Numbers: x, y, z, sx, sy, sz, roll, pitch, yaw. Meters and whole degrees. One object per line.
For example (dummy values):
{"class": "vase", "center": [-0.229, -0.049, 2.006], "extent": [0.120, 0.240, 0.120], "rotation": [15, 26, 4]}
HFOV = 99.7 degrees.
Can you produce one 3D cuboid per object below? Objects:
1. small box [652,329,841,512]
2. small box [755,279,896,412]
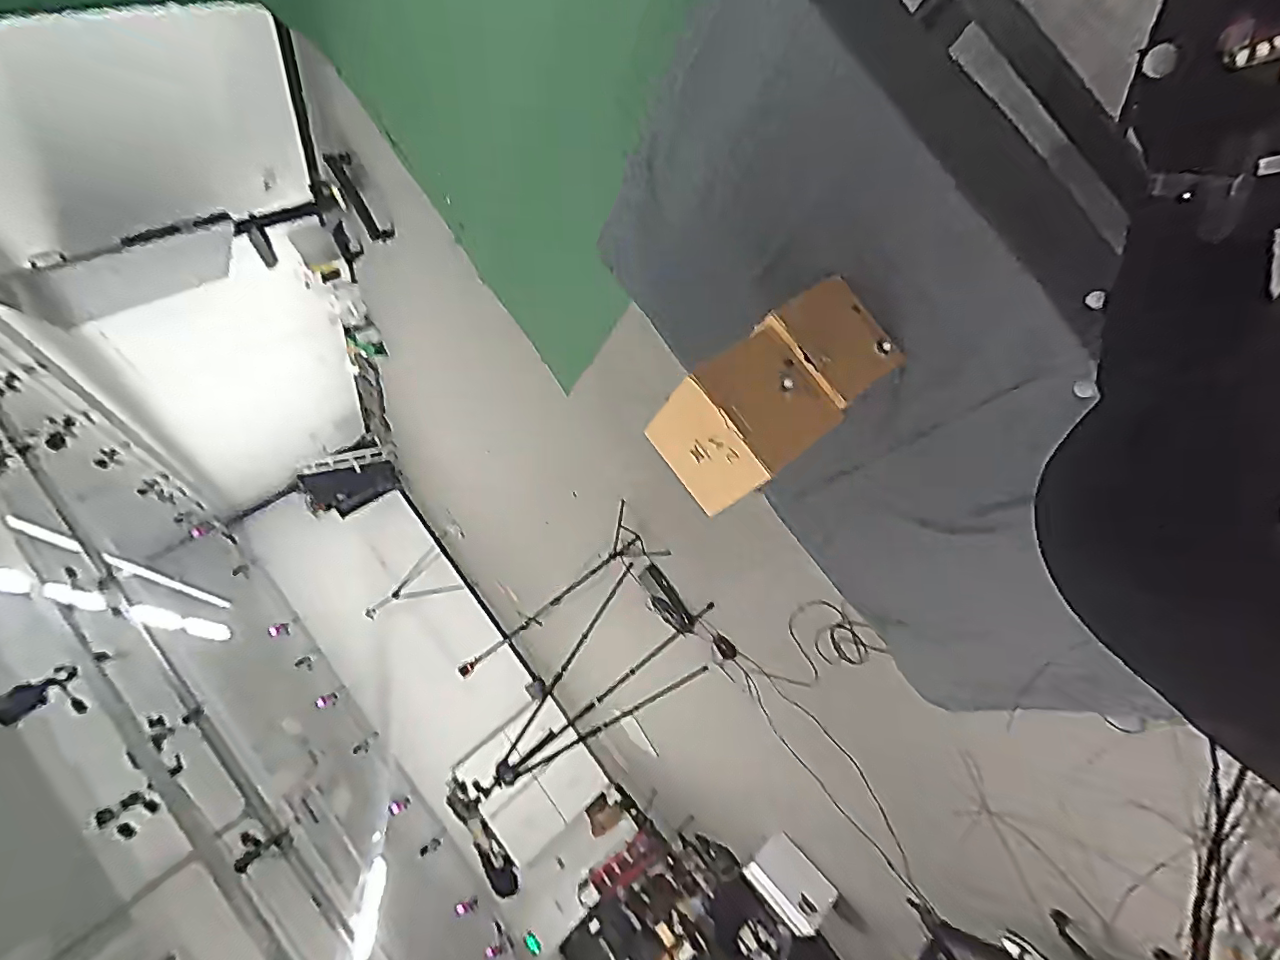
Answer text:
{"class": "small box", "center": [0.152, -0.084, 0.786], "extent": [0.168, 0.176, 0.179], "rotation": [52, 151, 5]}
{"class": "small box", "center": [0.268, -0.182, 0.850], "extent": [0.168, 0.176, 0.179], "rotation": [53, 153, 4]}
